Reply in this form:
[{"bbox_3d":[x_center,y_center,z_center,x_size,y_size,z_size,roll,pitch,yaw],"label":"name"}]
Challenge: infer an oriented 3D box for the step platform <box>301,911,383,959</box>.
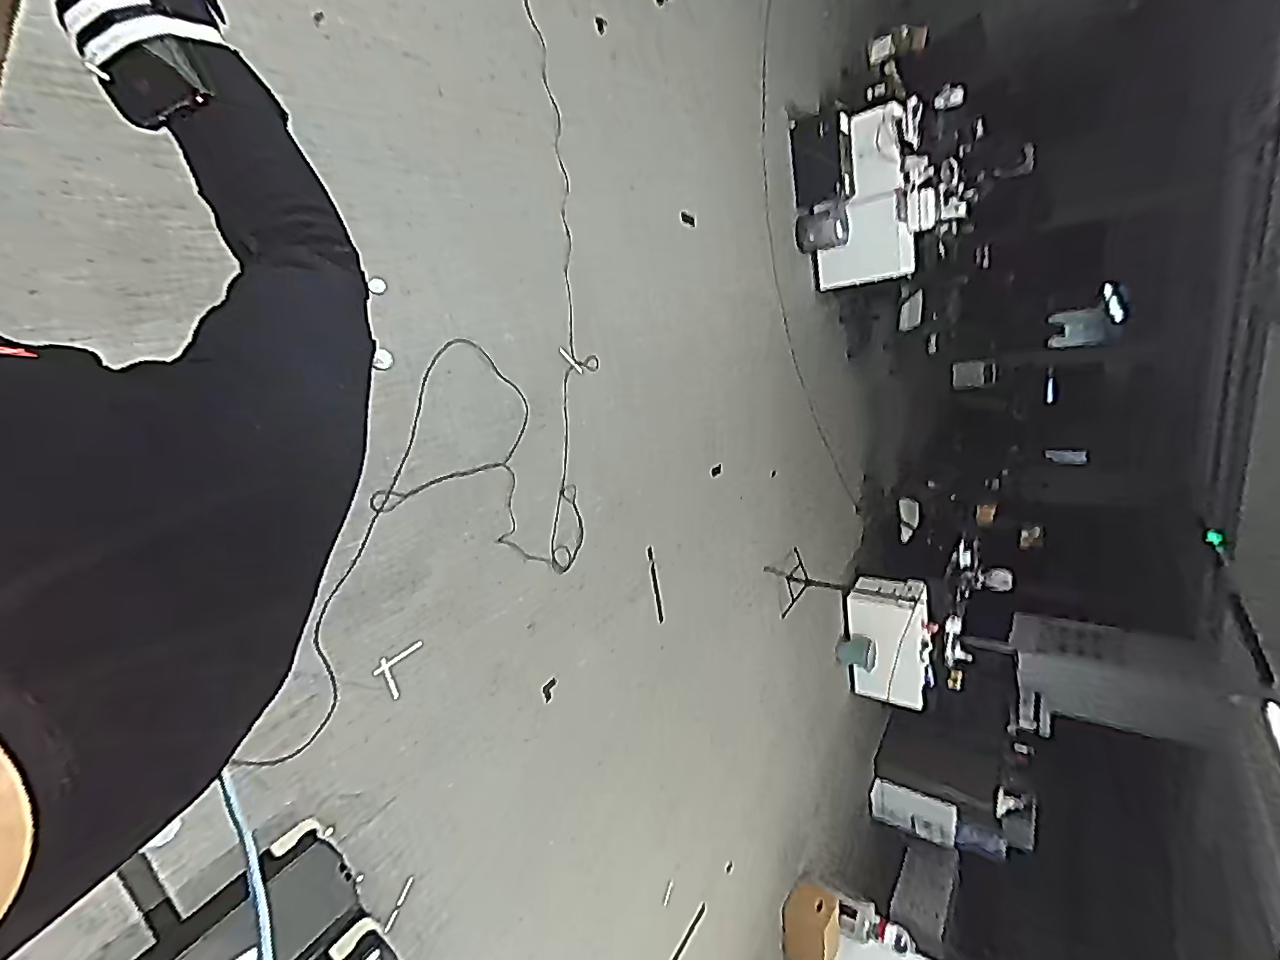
[{"bbox_3d":[-0.923,1.418,1.239,0.684,0.204,0.286,-32,116,-45],"label":"step platform"}]
